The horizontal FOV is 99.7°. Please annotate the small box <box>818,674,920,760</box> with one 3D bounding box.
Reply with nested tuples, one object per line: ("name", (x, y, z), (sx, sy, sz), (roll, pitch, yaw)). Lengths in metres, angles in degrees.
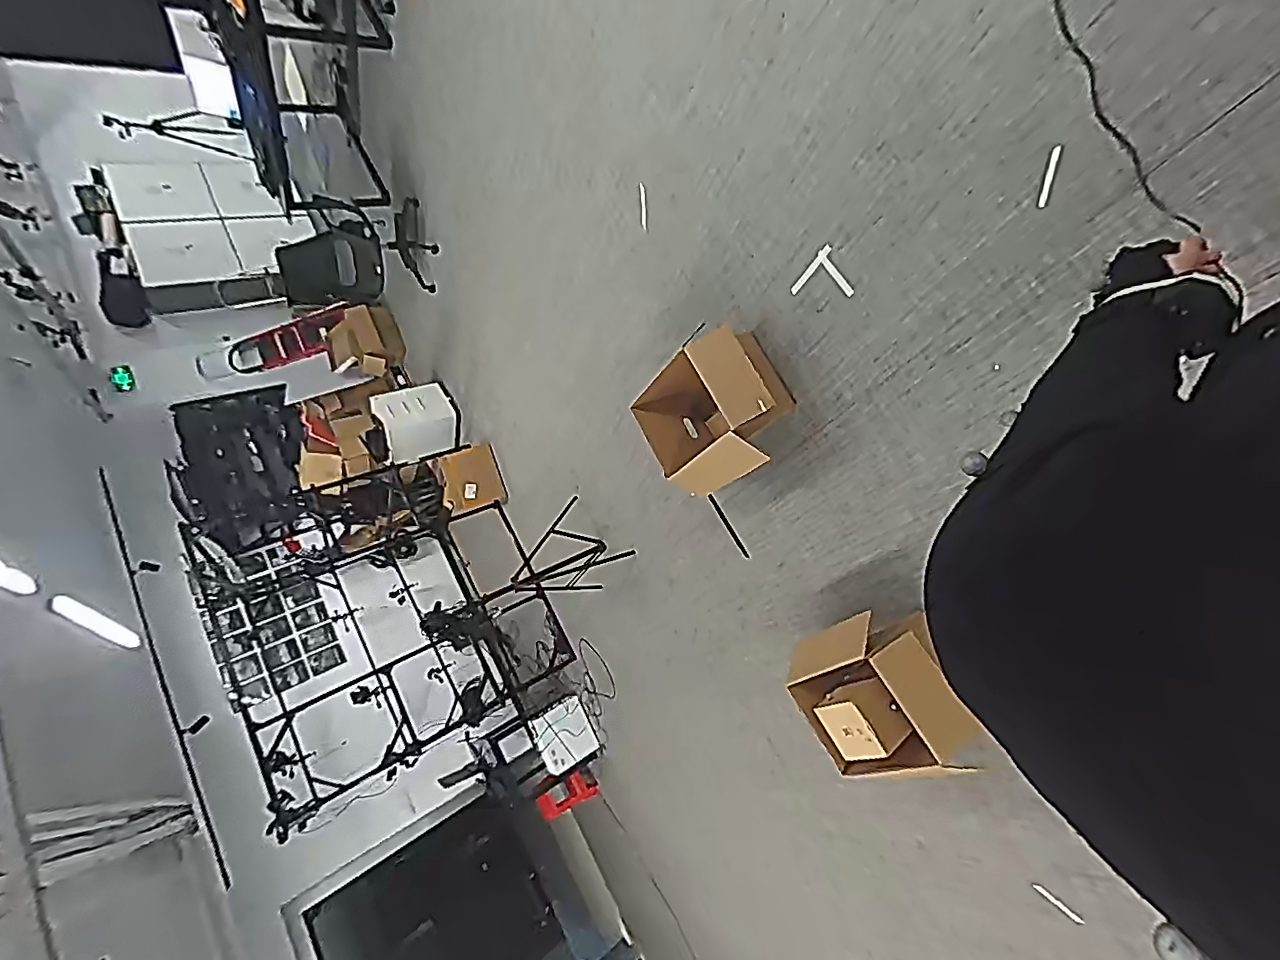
("small box", (0.668, 0.691, 1.577), (0.168, 0.176, 0.179), (59, 146, 15))
